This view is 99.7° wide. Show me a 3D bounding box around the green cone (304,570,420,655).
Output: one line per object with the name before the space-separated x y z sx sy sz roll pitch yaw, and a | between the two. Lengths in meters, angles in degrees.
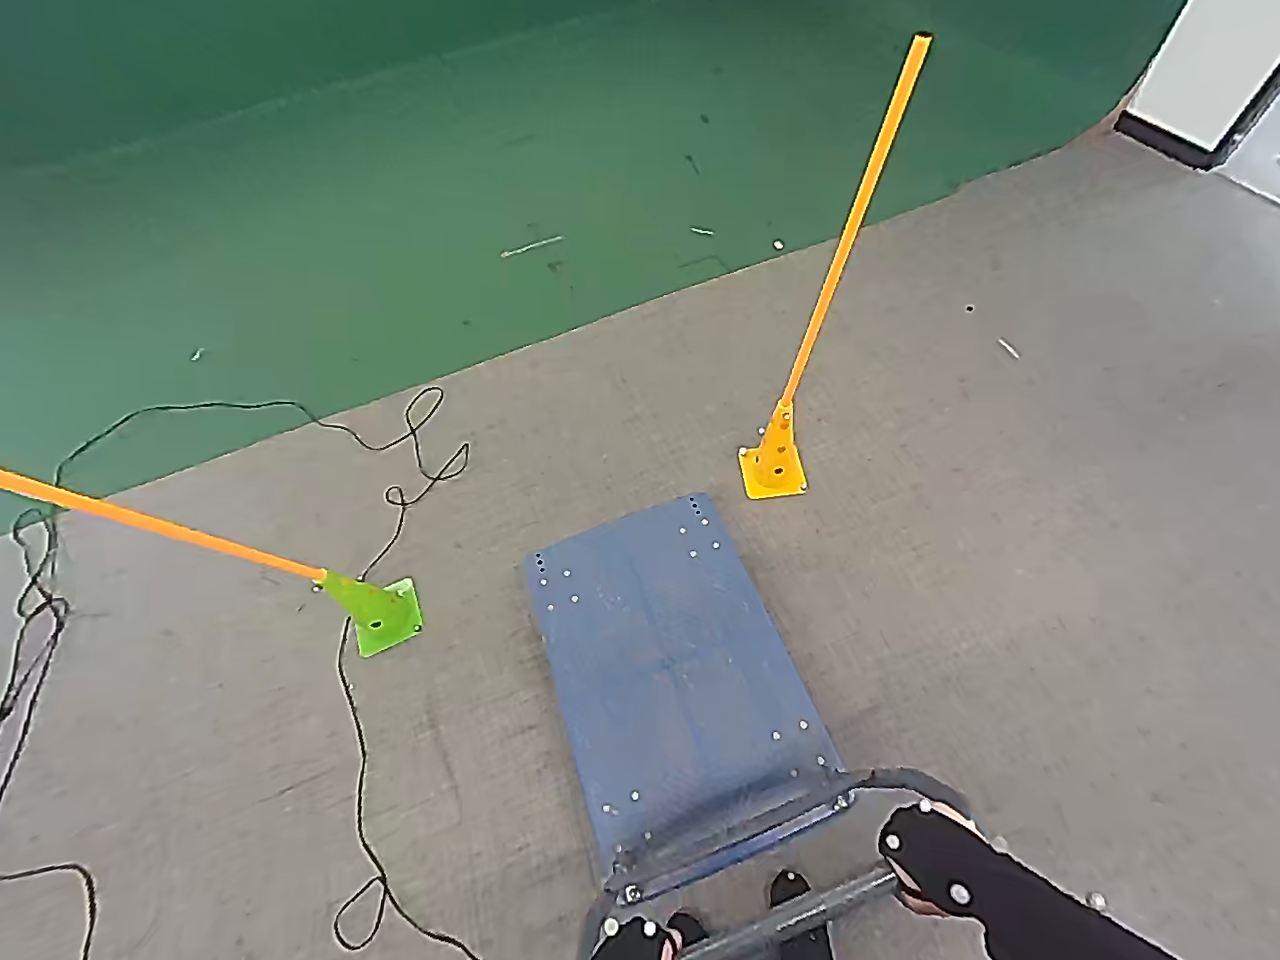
green cone | -0.820 0.334 1.547 0.202 0.368 0.200 -26 59 -7
